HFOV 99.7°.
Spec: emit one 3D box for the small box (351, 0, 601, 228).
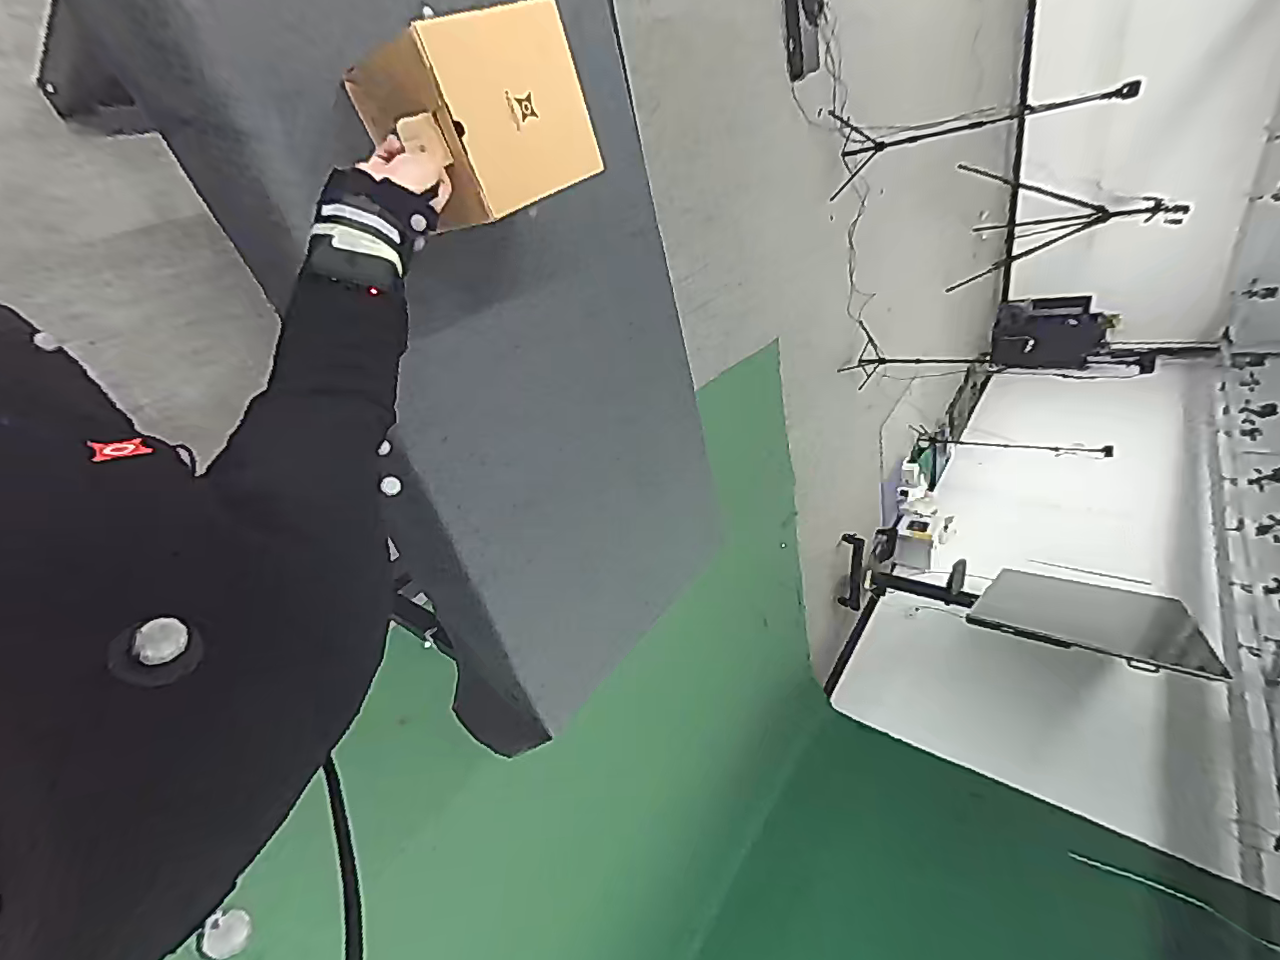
[{"bbox_3d":[-0.179,-0.400,0.606,0.179,0.176,0.168,-43,131,-30],"label":"small box"}]
